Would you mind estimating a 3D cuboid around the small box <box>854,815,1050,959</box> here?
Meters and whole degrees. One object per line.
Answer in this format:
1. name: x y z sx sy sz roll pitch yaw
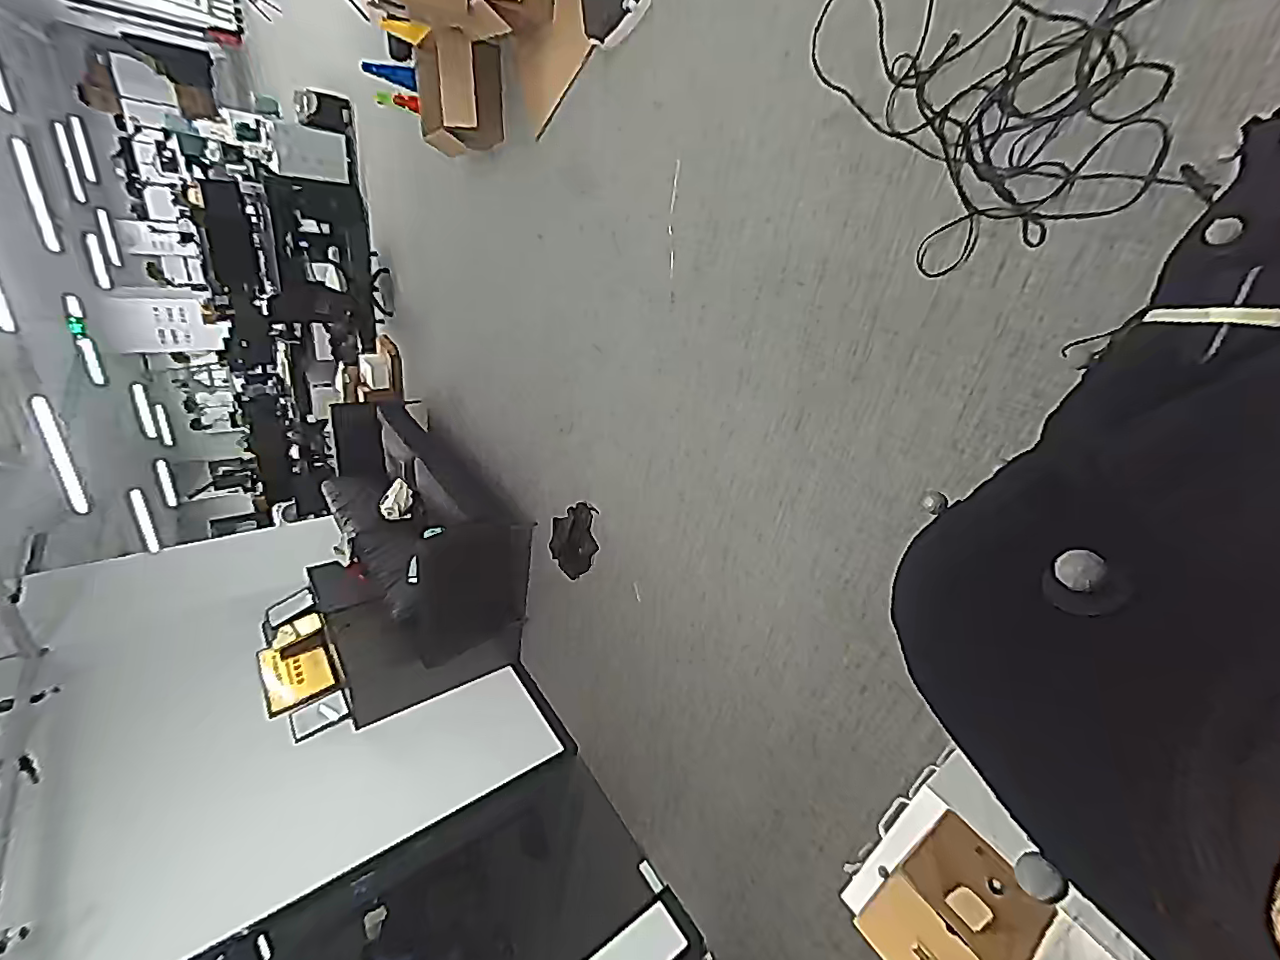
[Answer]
1. small box: 0.464 0.655 0.809 0.168 0.176 0.179 41 131 39
